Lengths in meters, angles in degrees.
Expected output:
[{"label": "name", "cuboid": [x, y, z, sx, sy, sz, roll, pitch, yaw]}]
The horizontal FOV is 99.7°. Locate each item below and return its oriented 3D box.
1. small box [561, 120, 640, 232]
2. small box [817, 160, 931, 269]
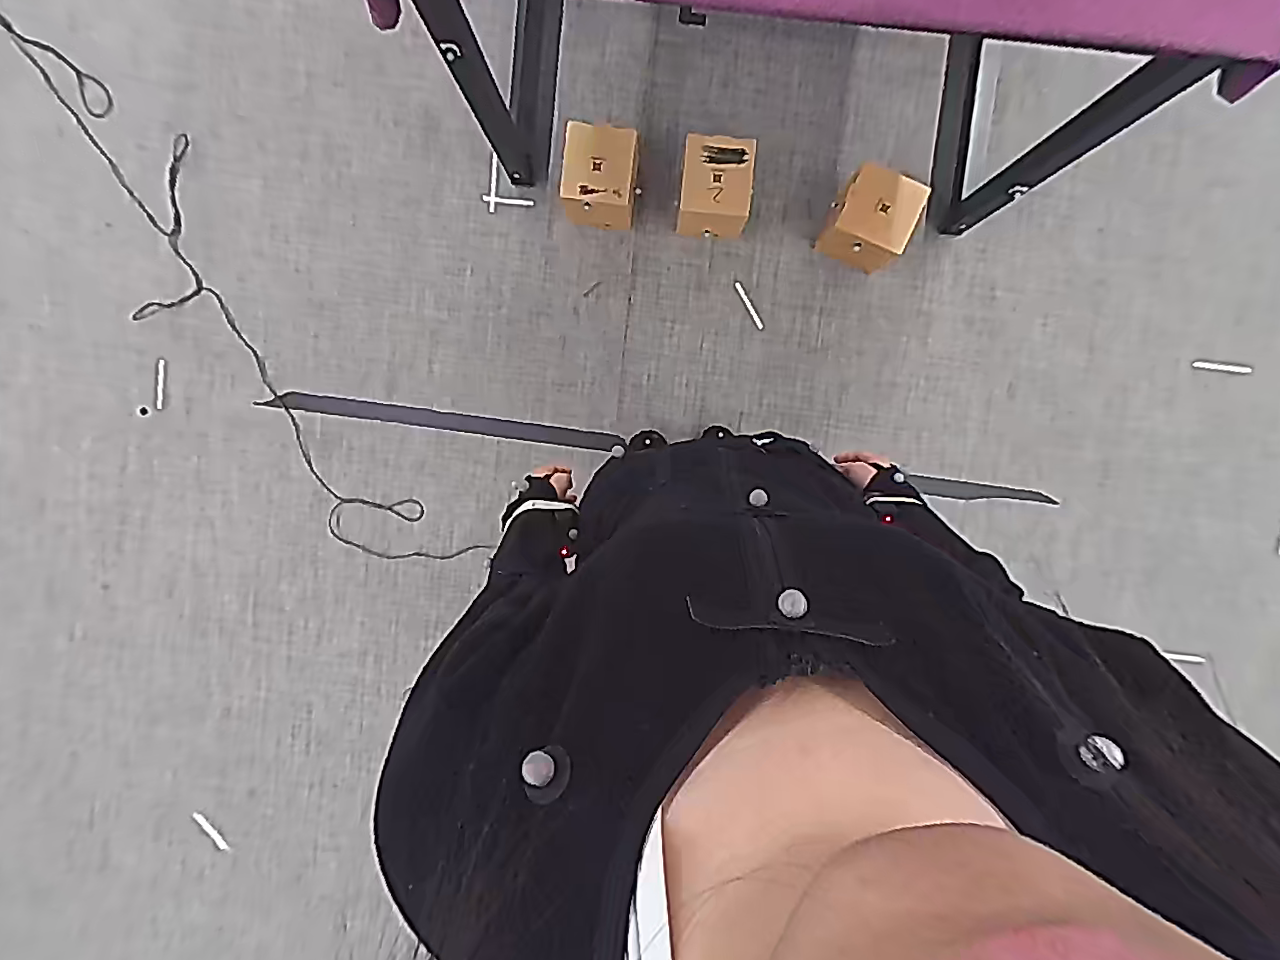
[{"label": "small box", "cuboid": [-0.094, -0.748, 1.345, 0.168, 0.176, 0.179, 8, 94, 0]}, {"label": "small box", "cuboid": [0.572, -0.647, 1.343, 0.179, 0.176, 0.168, 24, 96, 0]}]
